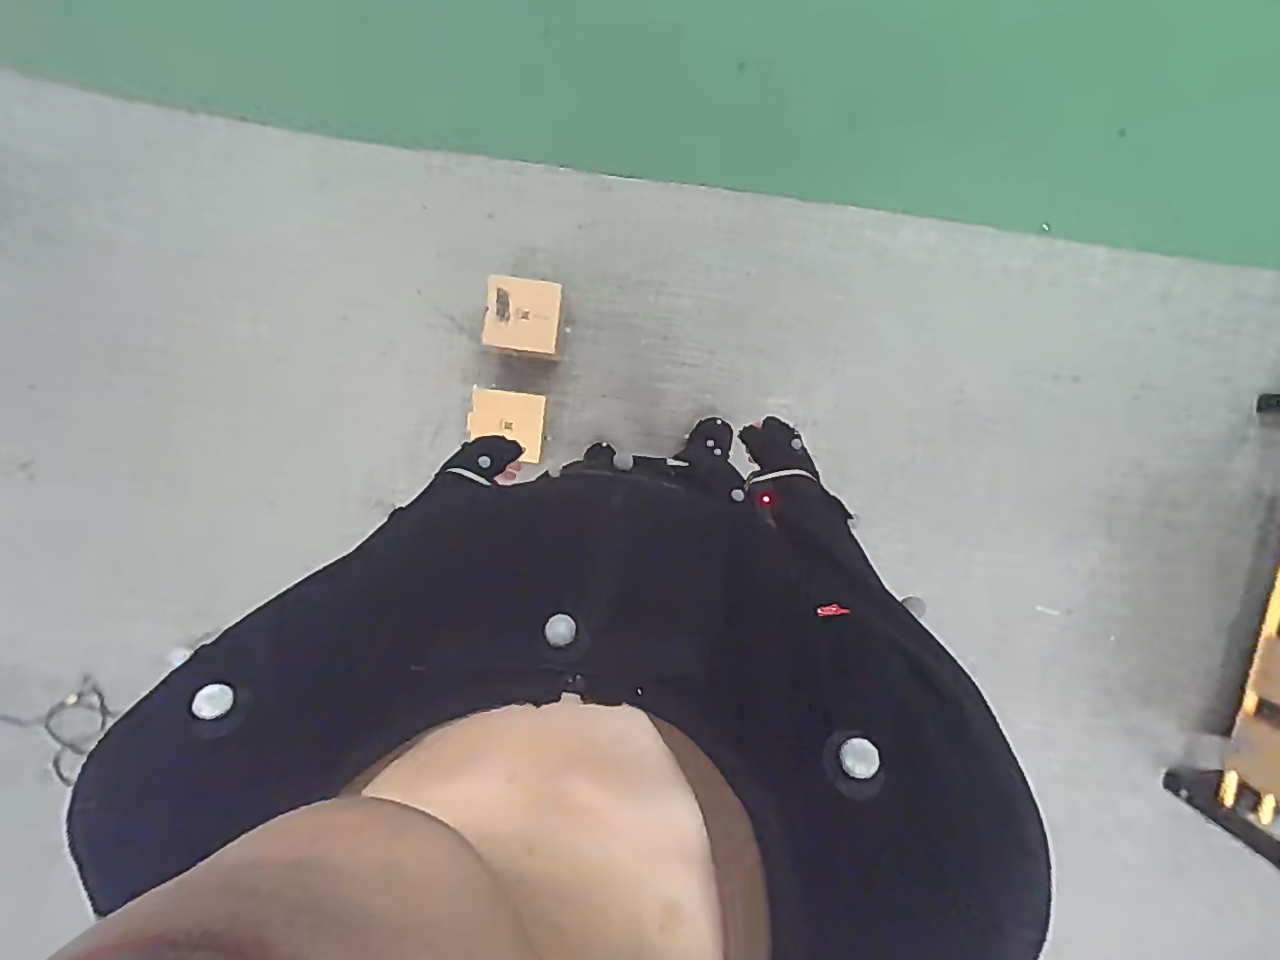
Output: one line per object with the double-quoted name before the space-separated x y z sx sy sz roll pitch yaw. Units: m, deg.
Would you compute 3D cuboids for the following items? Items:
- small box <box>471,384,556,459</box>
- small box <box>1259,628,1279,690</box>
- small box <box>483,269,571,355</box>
"small box" -0.314 -0.150 1.373 0.179 0.176 0.168 6 97 -1
"small box" 1.749 0.480 1.364 0.179 0.176 0.168 6 98 0
"small box" -0.274 -0.408 1.340 0.179 0.176 0.168 6 97 -3
